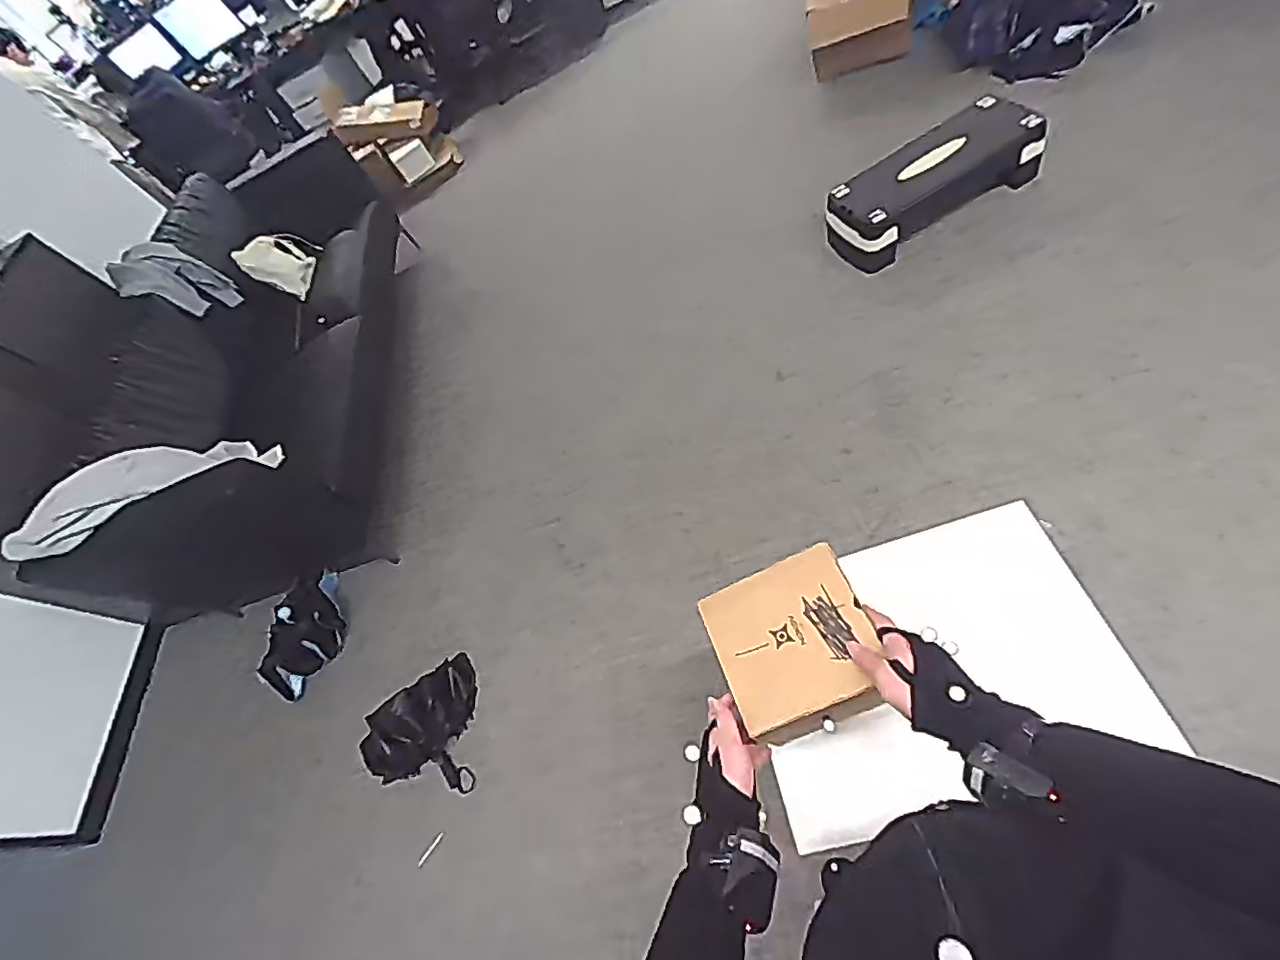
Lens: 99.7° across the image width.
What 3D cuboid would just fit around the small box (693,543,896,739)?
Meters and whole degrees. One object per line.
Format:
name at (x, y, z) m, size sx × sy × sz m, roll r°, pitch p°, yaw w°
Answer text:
small box at (0.193, 0.207, 0.674) m, size 0.179 × 0.176 × 0.168 m, roll -28°, pitch 55°, yaw 11°
